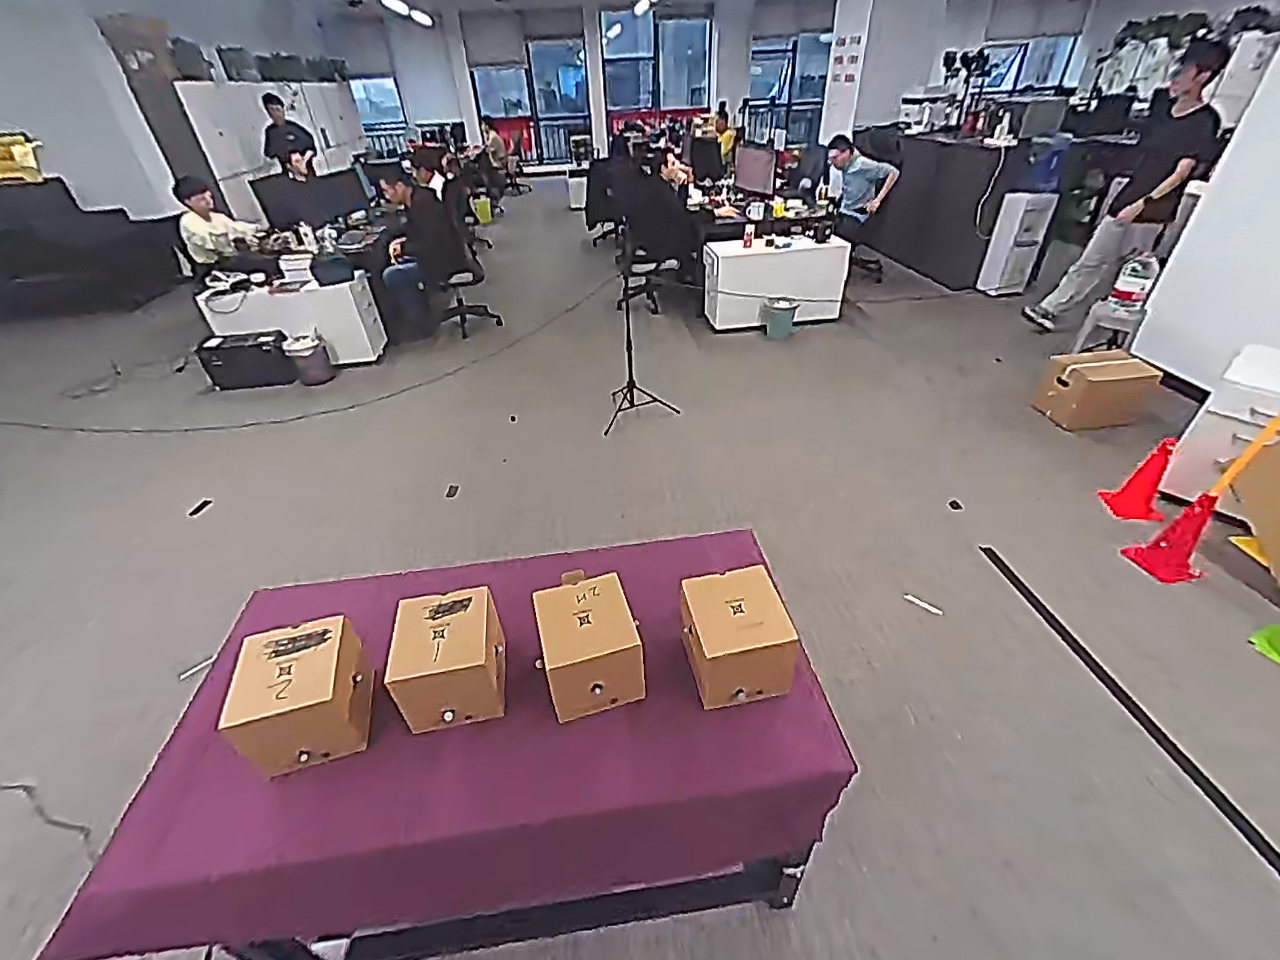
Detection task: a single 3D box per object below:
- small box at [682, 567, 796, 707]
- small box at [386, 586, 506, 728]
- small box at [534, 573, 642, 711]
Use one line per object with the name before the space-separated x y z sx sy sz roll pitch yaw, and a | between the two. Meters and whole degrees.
small box | 0.175 0.294 1.020 0.168 0.176 0.179 -9 37 -6
small box | -0.350 0.329 1.010 0.168 0.176 0.179 -8 38 -7
small box | -0.097 0.309 1.019 0.168 0.176 0.179 -11 37 -12
